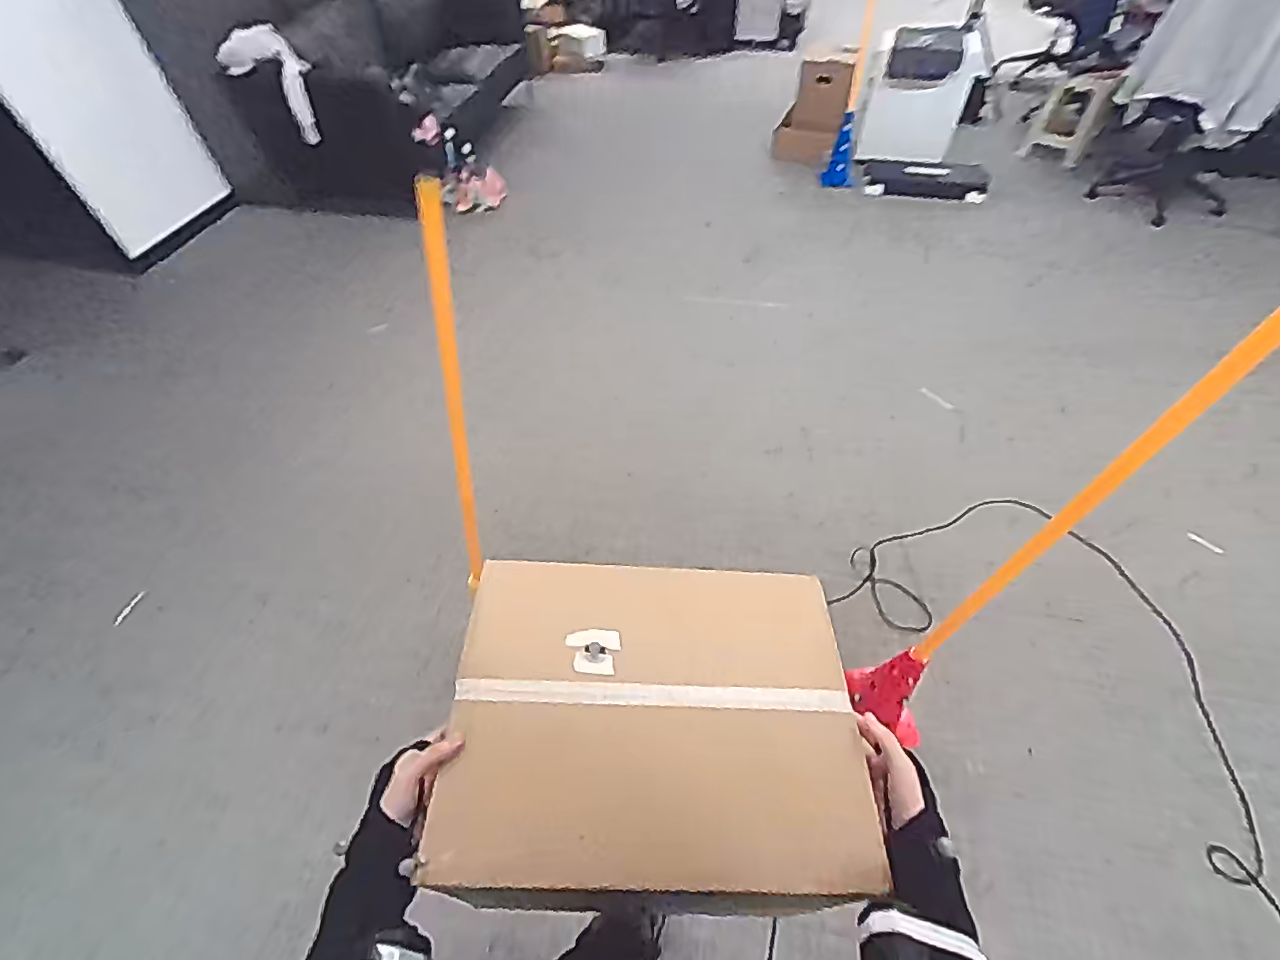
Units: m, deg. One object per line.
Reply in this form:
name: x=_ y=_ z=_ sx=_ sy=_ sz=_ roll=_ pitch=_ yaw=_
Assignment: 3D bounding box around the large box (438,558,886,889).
large box: x=0.018 y=0.315 z=0.681 sx=0.408 sy=0.320 sz=0.320 roll=3 pitch=48 yaw=-1
